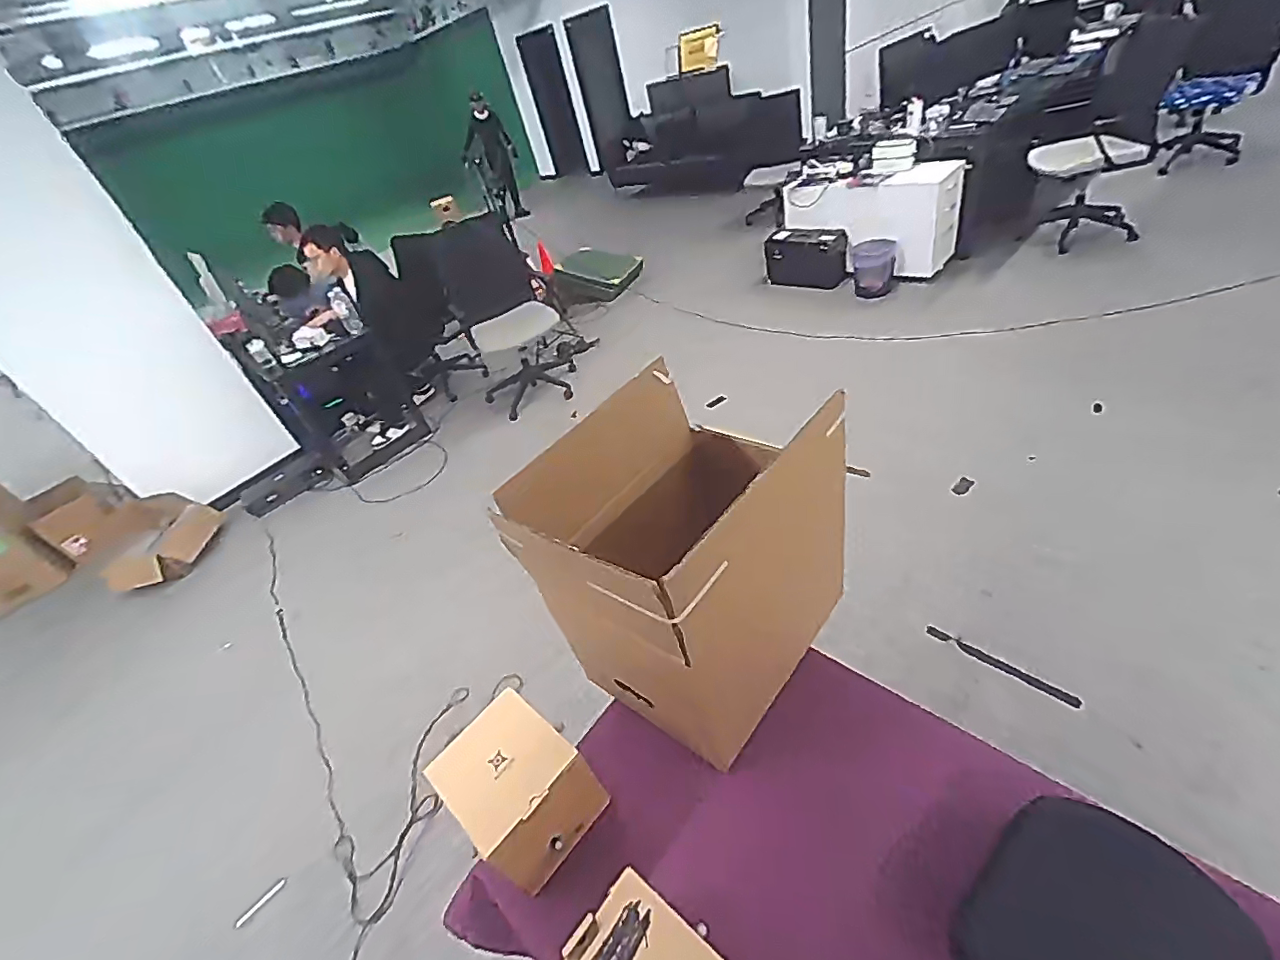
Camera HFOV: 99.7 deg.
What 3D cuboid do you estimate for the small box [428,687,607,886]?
[{"bbox_3d":[-0.177,0.460,0.814,0.179,0.176,0.168,24,53,38],"label":"small box"}]
